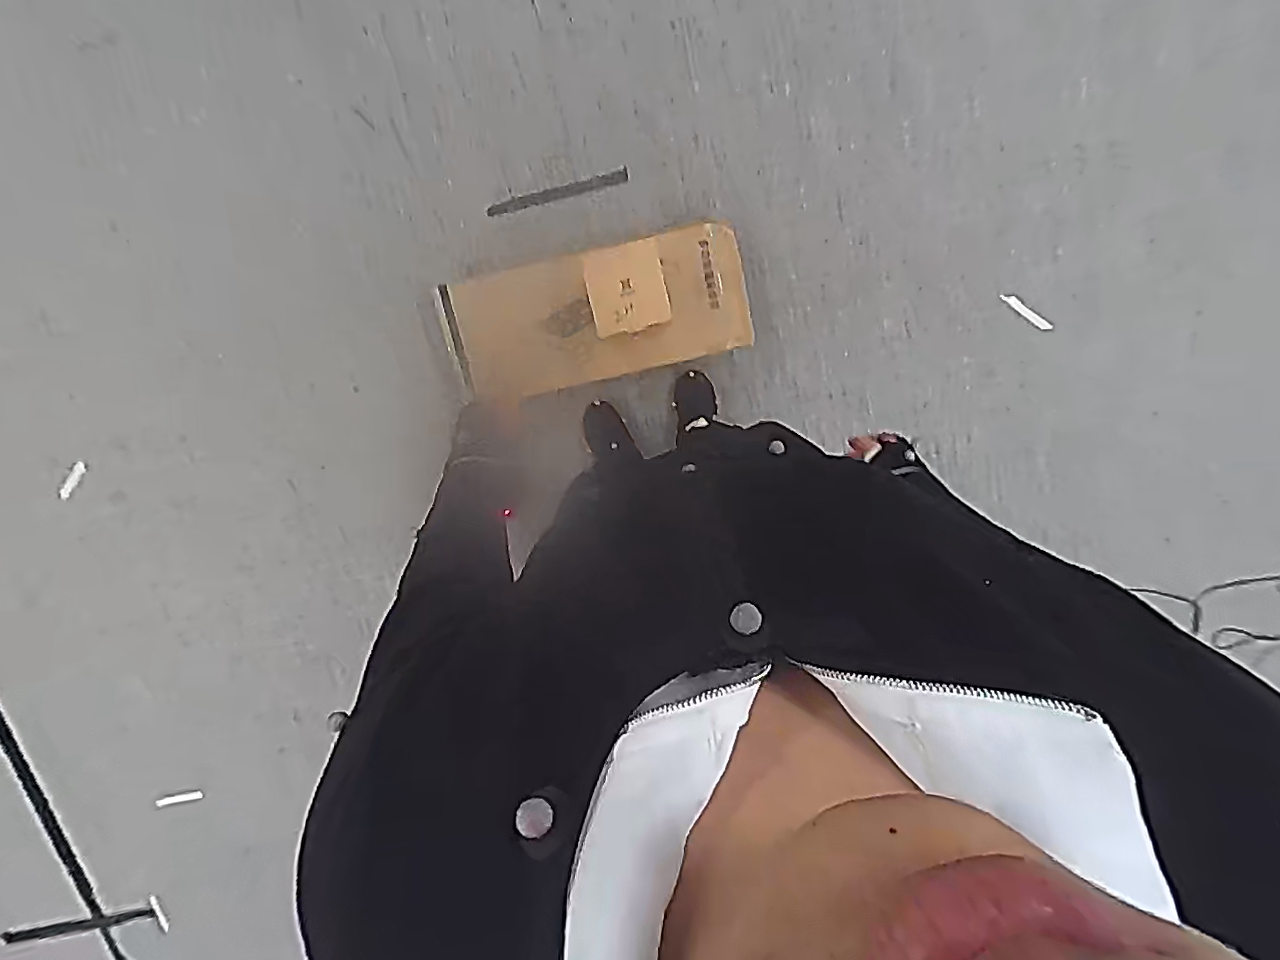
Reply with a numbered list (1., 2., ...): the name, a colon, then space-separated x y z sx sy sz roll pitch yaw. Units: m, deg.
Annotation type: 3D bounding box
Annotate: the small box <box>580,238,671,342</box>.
1. small box: -0.032 -0.420 1.223 0.168 0.176 0.179 -13 101 2
